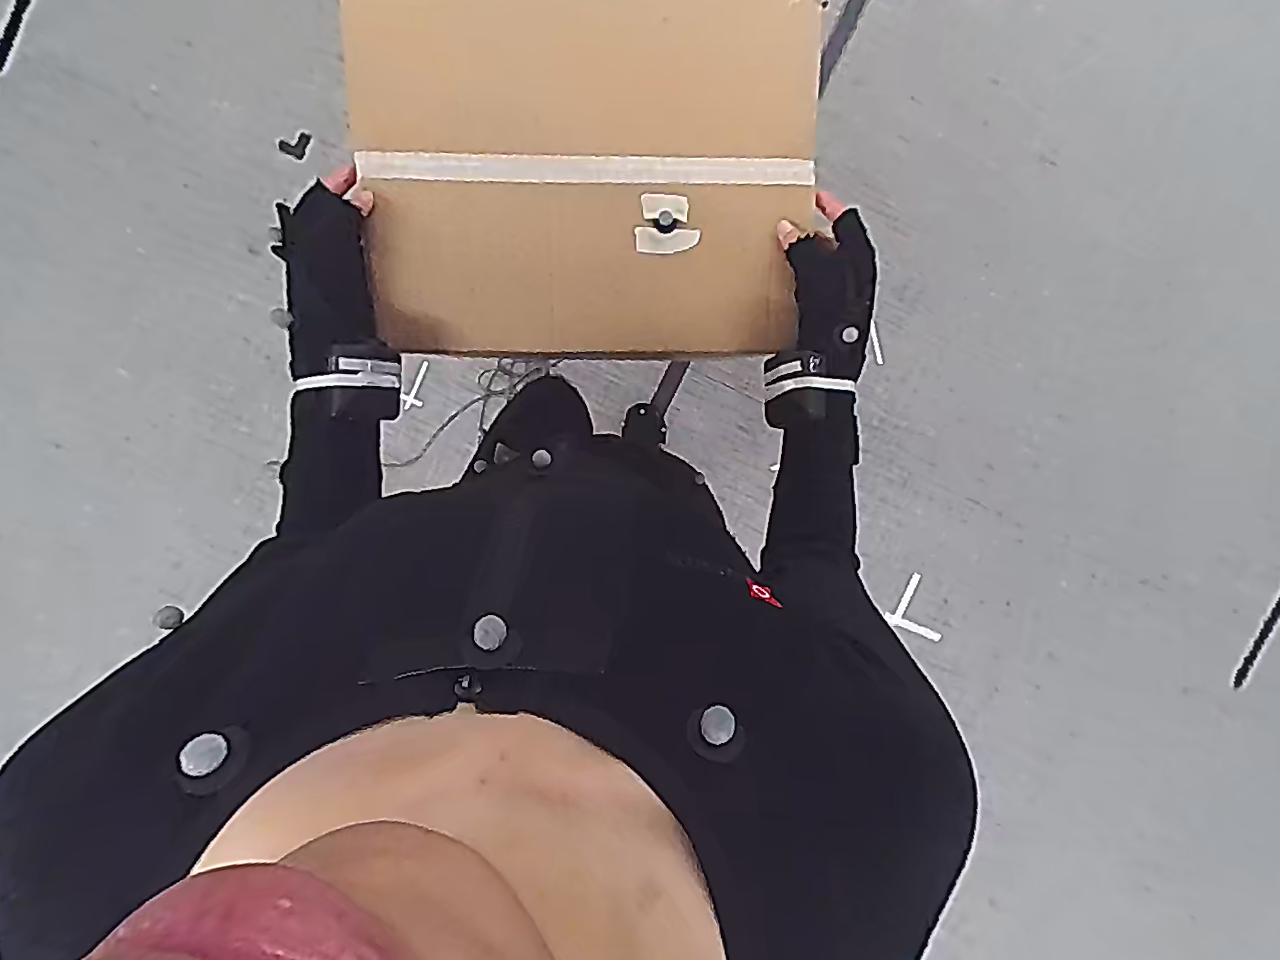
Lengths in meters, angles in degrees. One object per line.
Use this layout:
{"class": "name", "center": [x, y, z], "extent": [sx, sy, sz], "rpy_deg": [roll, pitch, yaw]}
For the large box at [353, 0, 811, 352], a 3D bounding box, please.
{"class": "large box", "center": [-0.055, -0.319, 0.637], "extent": [0.408, 0.320, 0.320], "rpy_deg": [-1, 102, -4]}
